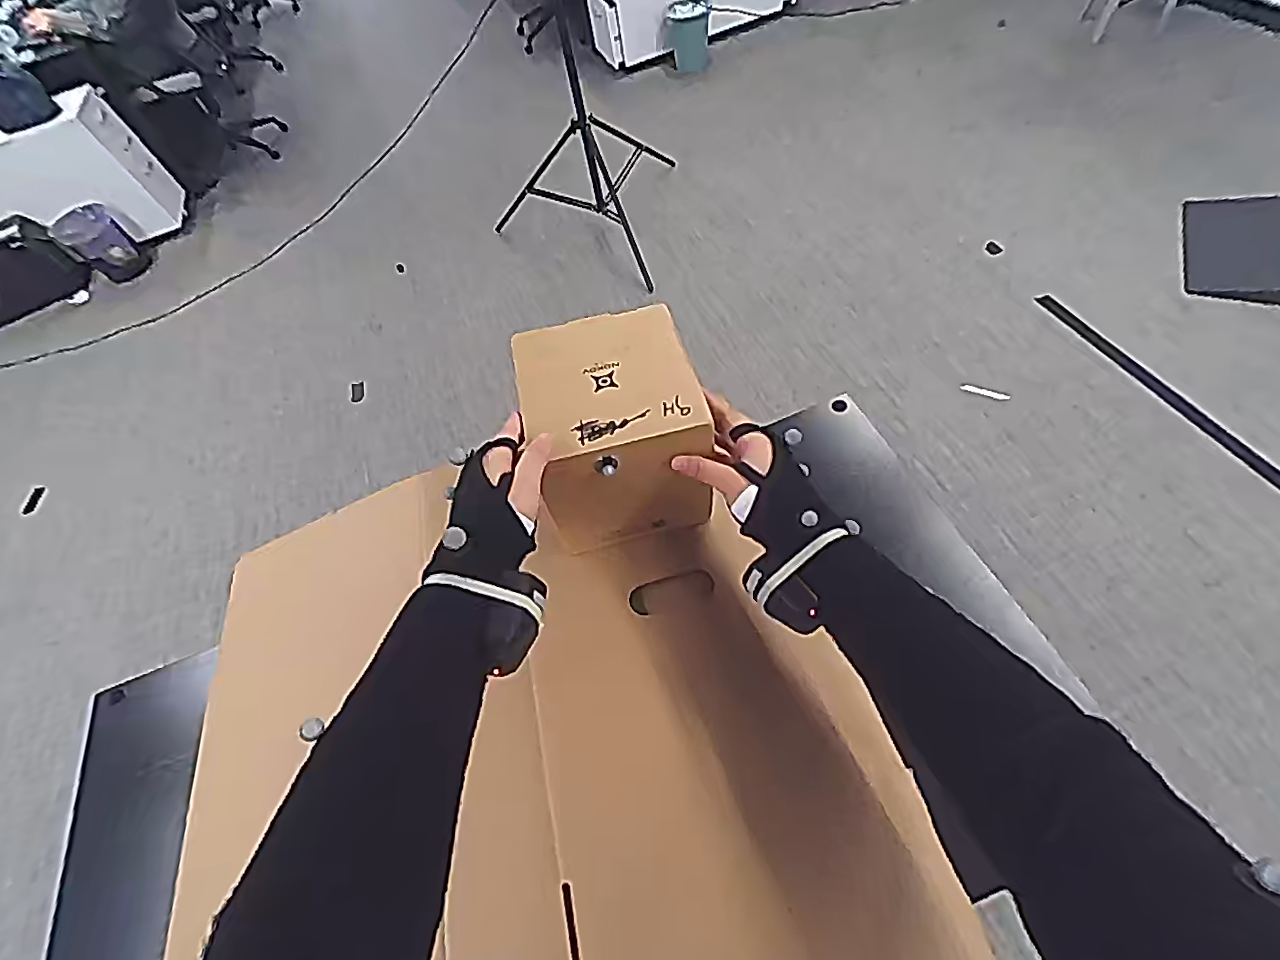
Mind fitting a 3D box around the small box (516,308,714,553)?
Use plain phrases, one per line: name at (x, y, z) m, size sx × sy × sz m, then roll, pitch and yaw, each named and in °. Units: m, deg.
small box at (-0.026, -0.049, 0.576) m, size 0.168 × 0.176 × 0.179 m, roll -14°, pitch 54°, yaw -3°
